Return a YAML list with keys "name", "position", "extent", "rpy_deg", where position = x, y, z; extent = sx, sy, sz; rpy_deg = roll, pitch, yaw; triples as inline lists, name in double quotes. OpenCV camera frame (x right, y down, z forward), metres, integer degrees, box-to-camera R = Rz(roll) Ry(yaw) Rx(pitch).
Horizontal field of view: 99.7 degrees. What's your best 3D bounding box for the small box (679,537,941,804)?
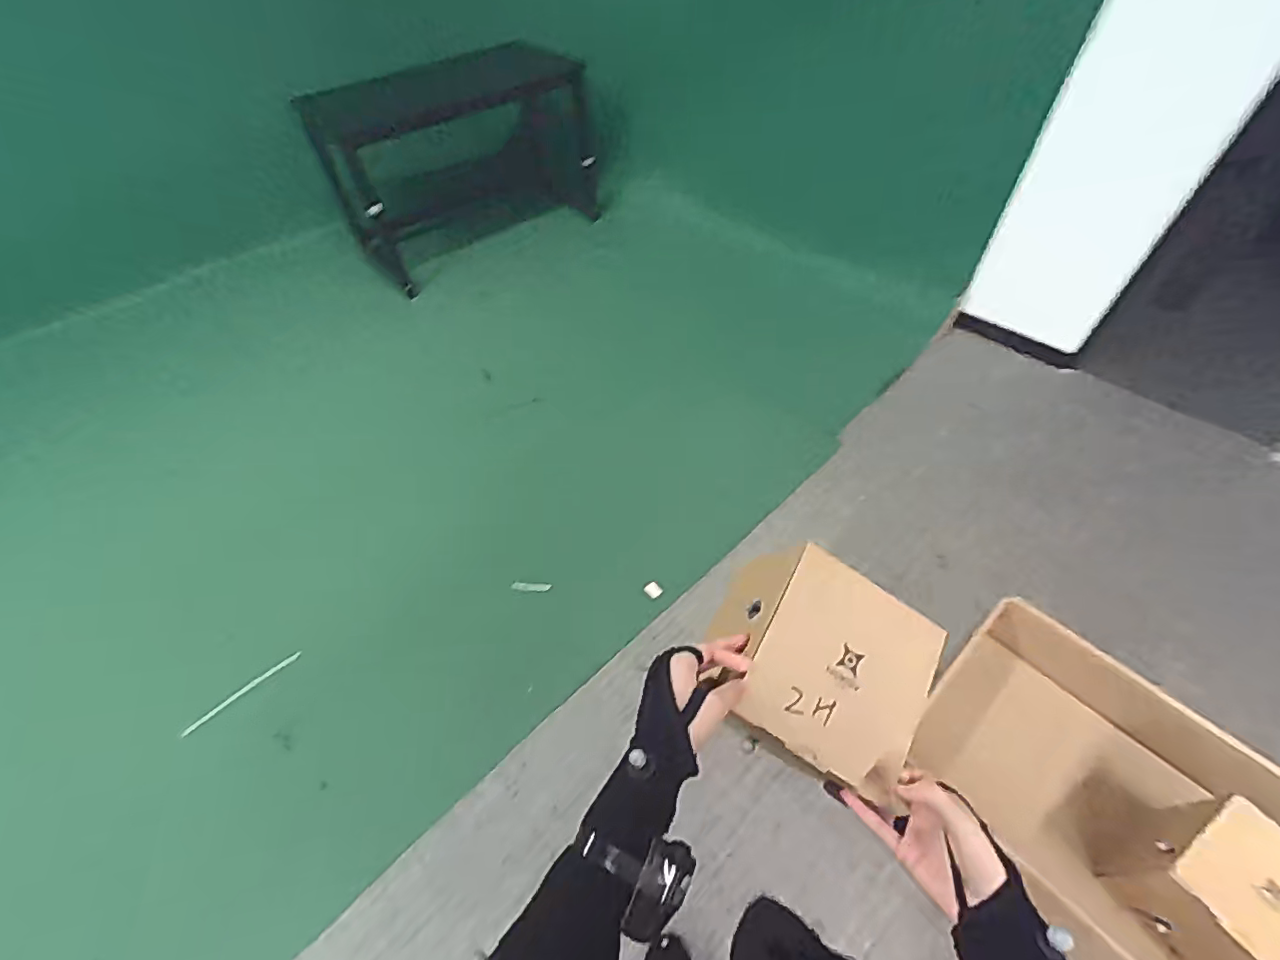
- name: "small box"
  position: [0.162, 0.186, 0.561]
  extent: [0.168, 0.176, 0.179]
  rpy_deg: [34, 70, -2]
